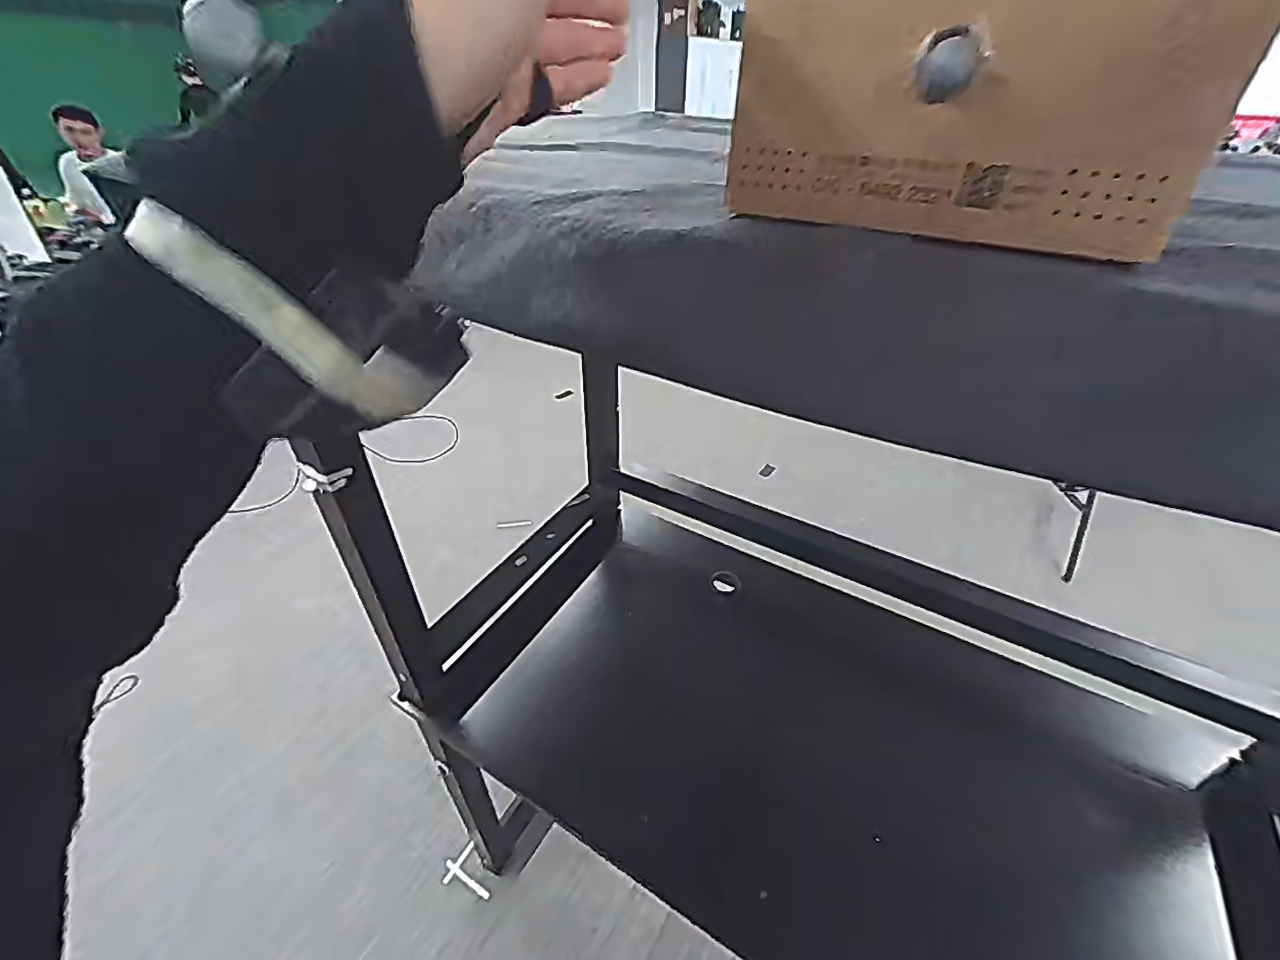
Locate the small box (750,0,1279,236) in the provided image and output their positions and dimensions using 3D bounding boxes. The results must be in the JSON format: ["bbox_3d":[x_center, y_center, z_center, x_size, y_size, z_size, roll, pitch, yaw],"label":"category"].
[{"bbox_3d":[0.159,-0.216,0.234,0.168,0.176,0.179,20,38,24],"label":"small box"}]
